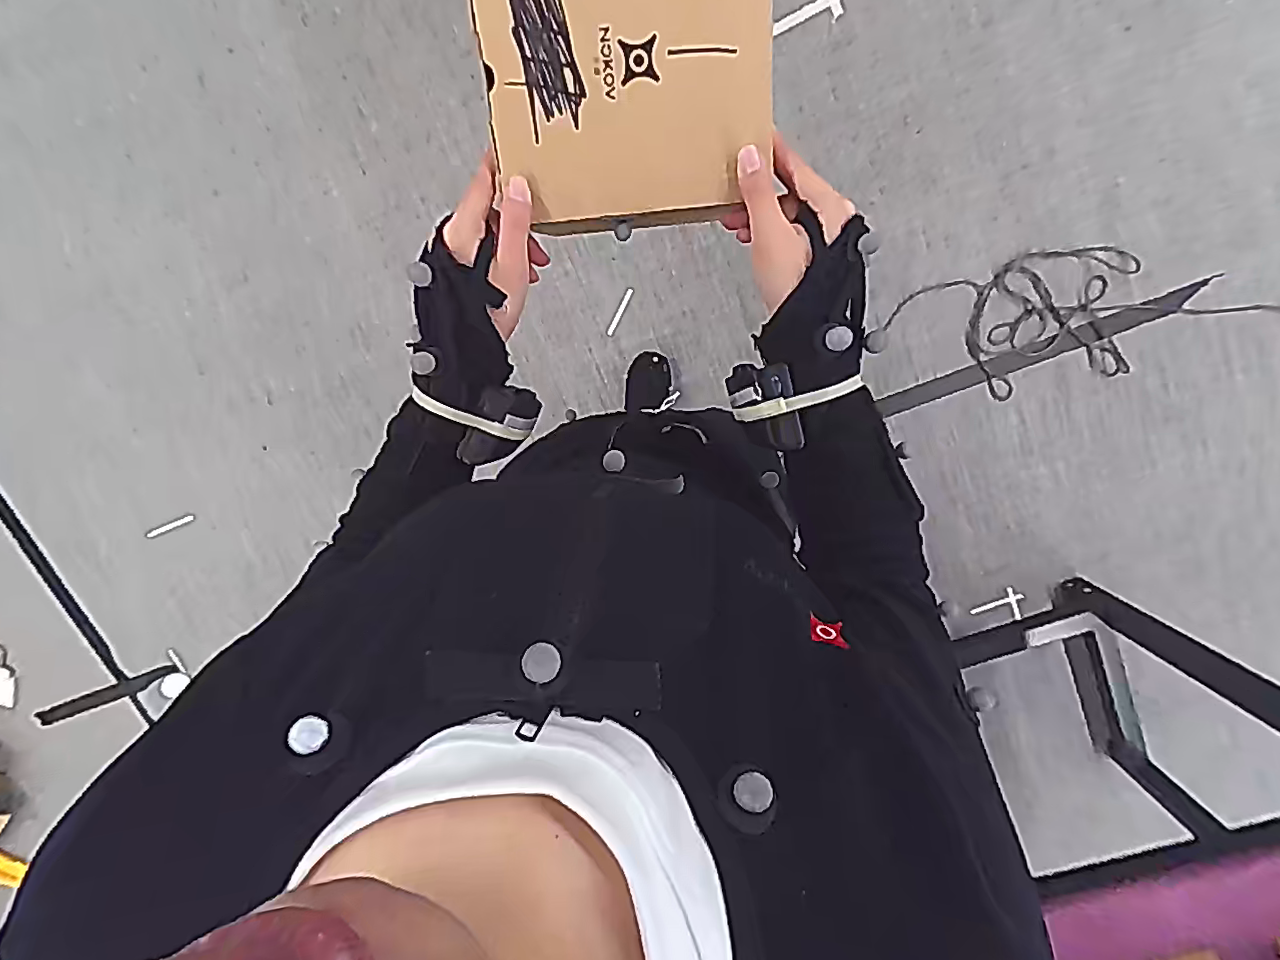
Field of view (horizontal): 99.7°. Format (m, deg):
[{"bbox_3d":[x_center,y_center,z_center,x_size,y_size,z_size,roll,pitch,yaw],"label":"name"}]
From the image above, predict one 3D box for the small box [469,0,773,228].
[{"bbox_3d":[-0.006,-0.282,0.391,0.179,0.176,0.168,-4,112,3],"label":"small box"}]
